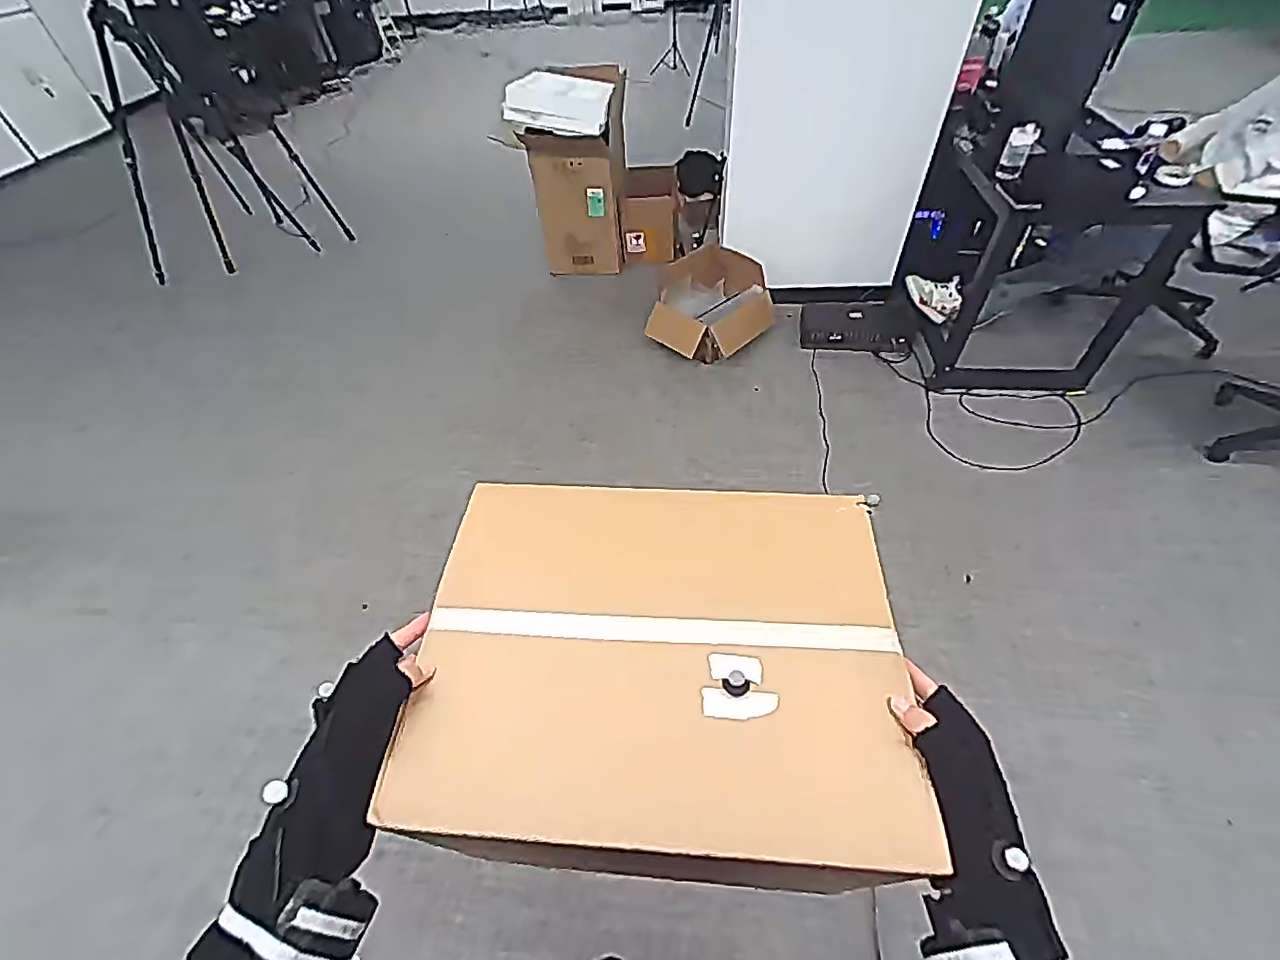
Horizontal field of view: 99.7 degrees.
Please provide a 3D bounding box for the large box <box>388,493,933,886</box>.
[{"bbox_3d":[0.022,0.231,0.595,0.408,0.320,0.320,2,51,5],"label":"large box"}]
